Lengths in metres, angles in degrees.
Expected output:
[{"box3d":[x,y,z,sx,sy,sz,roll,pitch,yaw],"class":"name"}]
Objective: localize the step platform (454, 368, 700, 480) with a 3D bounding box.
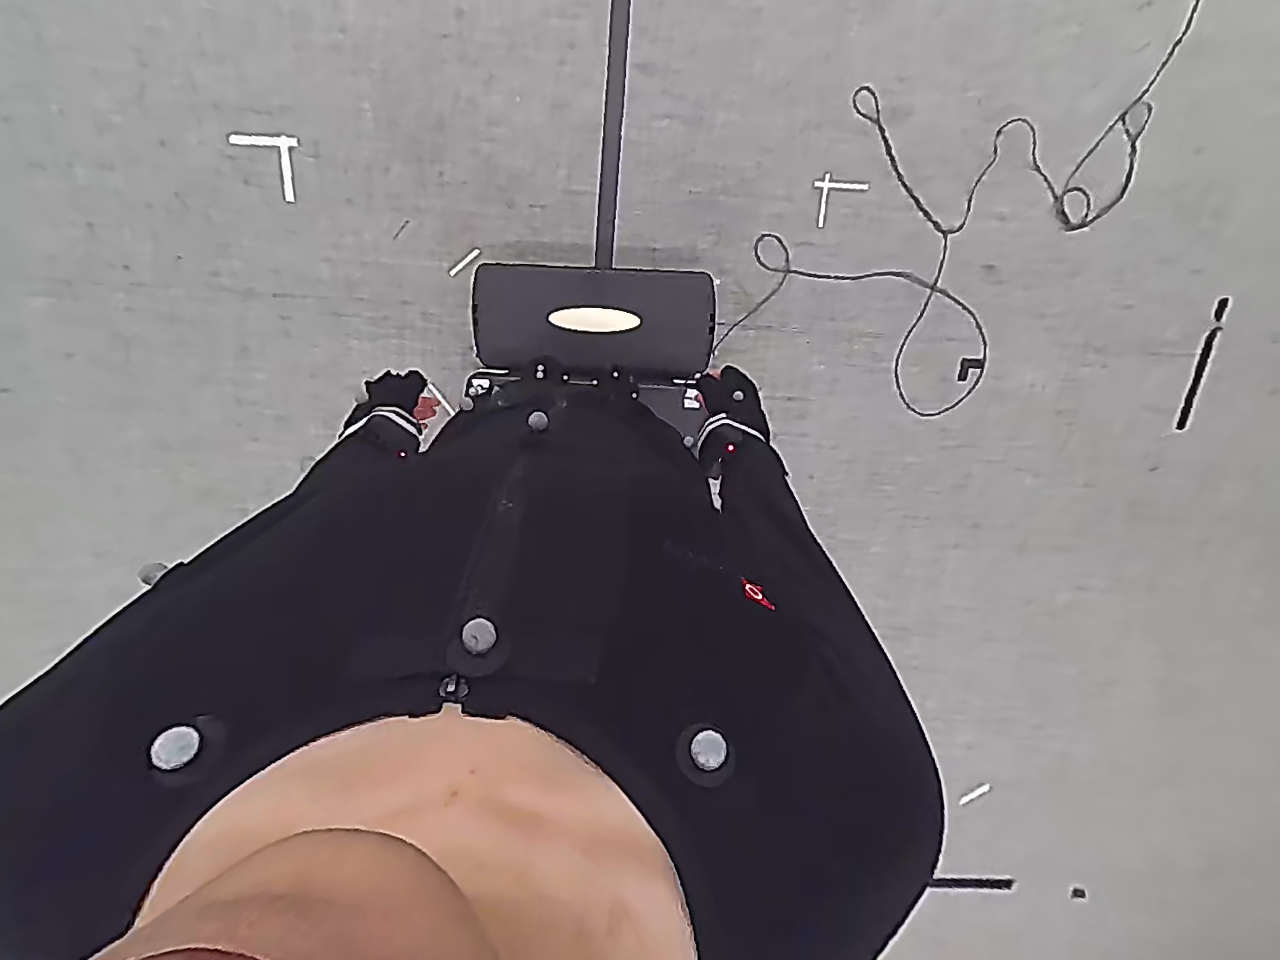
[{"box3d":[-0.170,-0.161,1.542,0.684,0.204,0.286,2,104,-2],"class":"step platform"}]
